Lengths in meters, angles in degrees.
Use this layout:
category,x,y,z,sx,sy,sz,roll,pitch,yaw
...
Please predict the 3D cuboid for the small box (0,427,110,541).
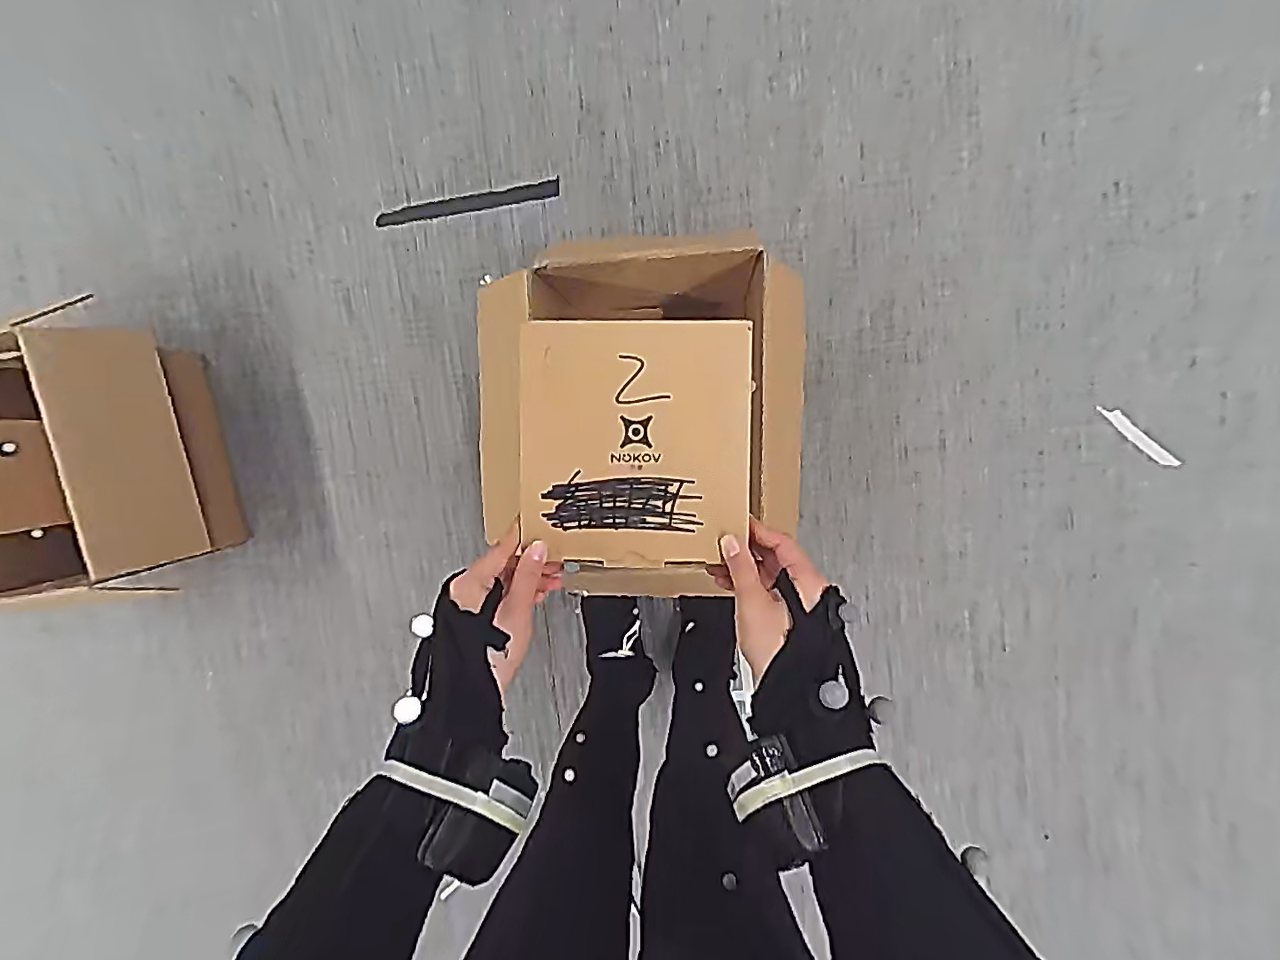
category,x,y,z,sx,sy,sz,roll,pitch,yaw
small box,-1.042,0.009,0.888,0.168,0.176,0.179,-8,96,8
